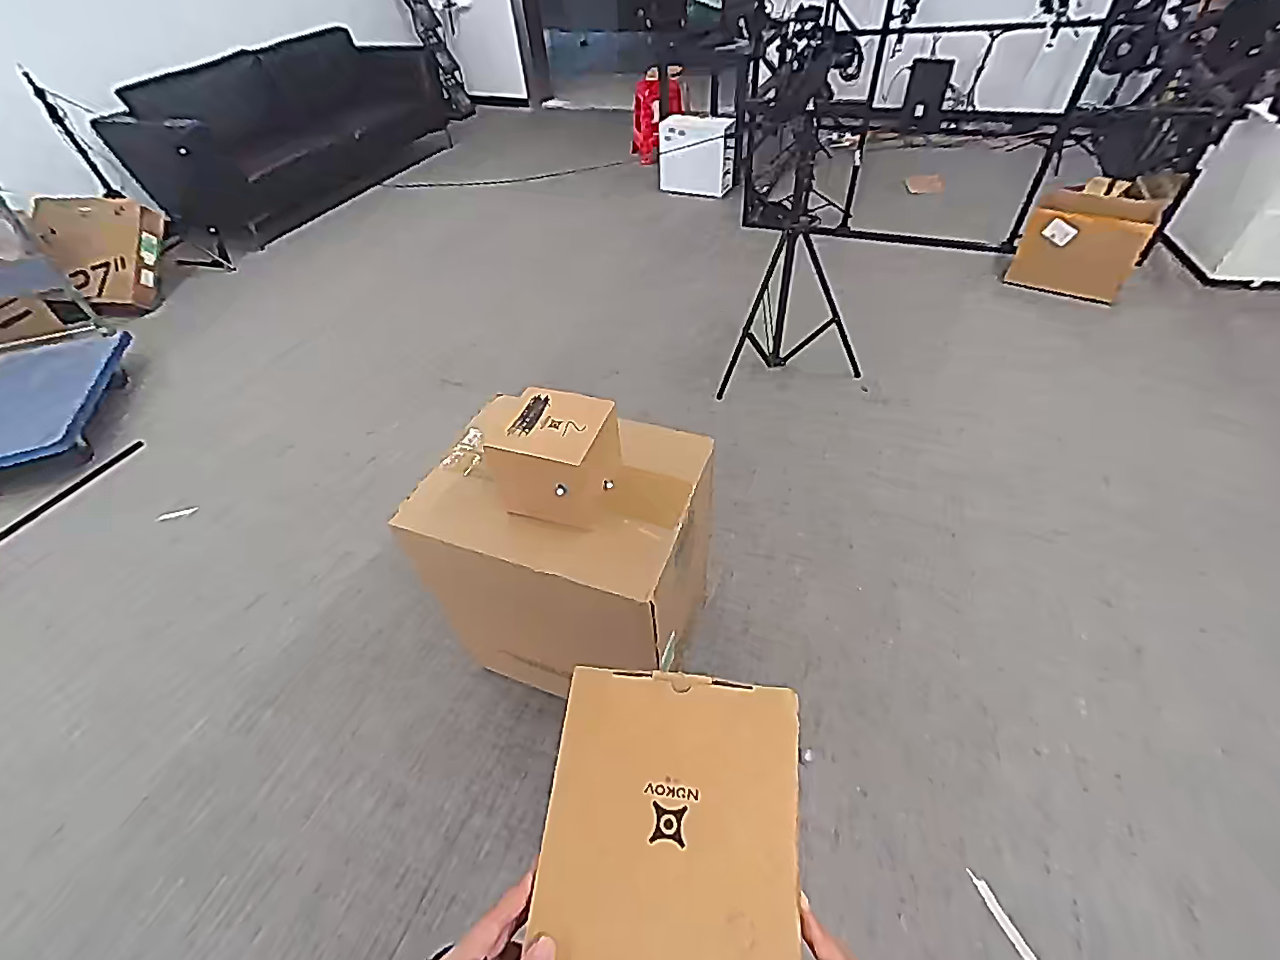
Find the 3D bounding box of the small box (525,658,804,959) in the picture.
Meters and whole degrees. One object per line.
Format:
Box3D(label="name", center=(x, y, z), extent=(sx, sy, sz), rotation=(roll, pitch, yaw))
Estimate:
Box3D(label="small box", center=(0.031, 0.252, 0.414), extent=(0.168, 0.176, 0.179), rotation=(2, 58, 9))
